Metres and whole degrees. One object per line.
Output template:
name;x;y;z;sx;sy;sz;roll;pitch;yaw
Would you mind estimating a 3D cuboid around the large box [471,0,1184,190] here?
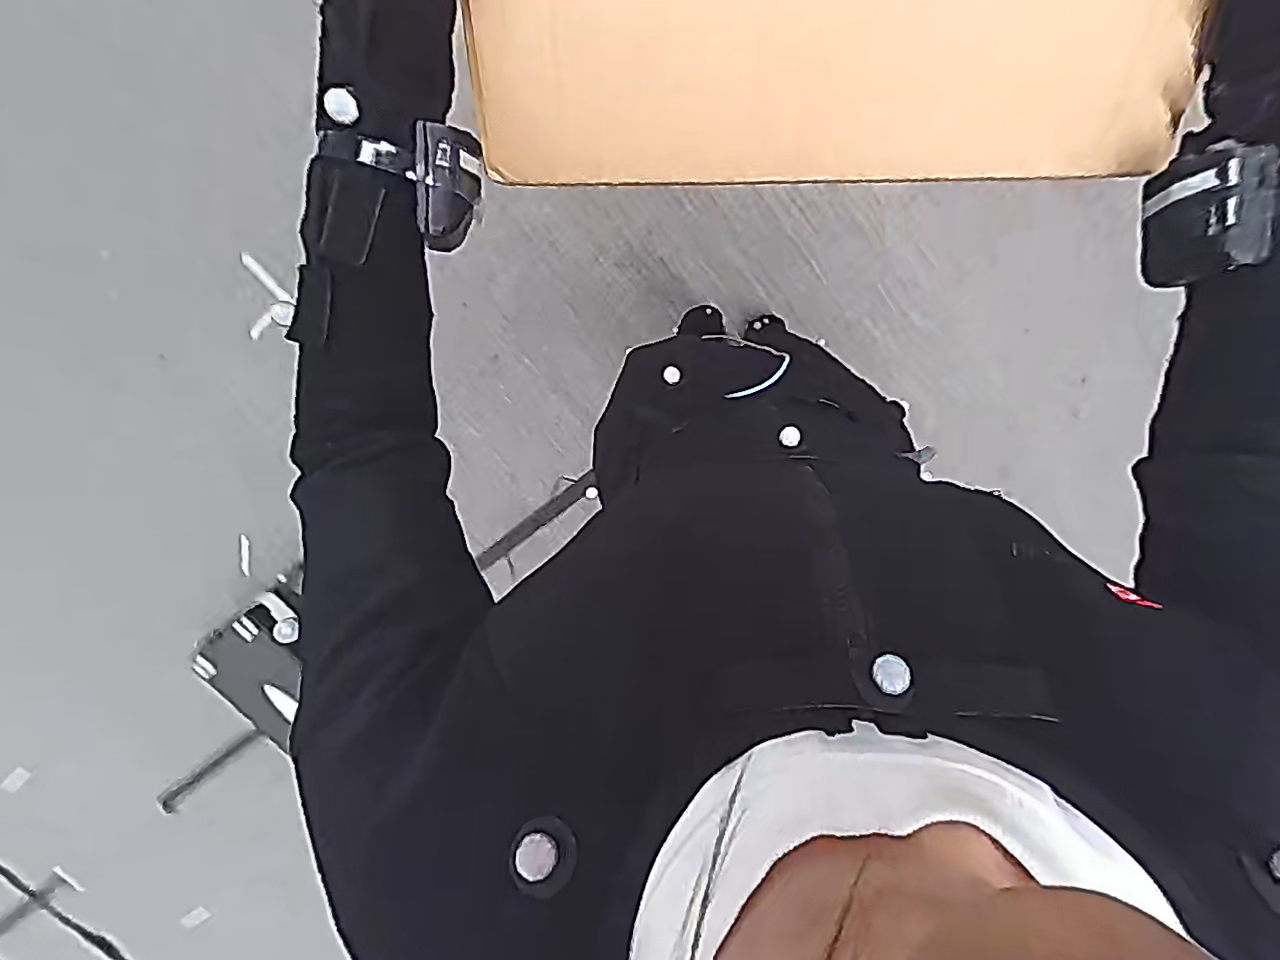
large box;0.100;-0.404;0.394;0.408;0.320;0.320;-1;122;2
